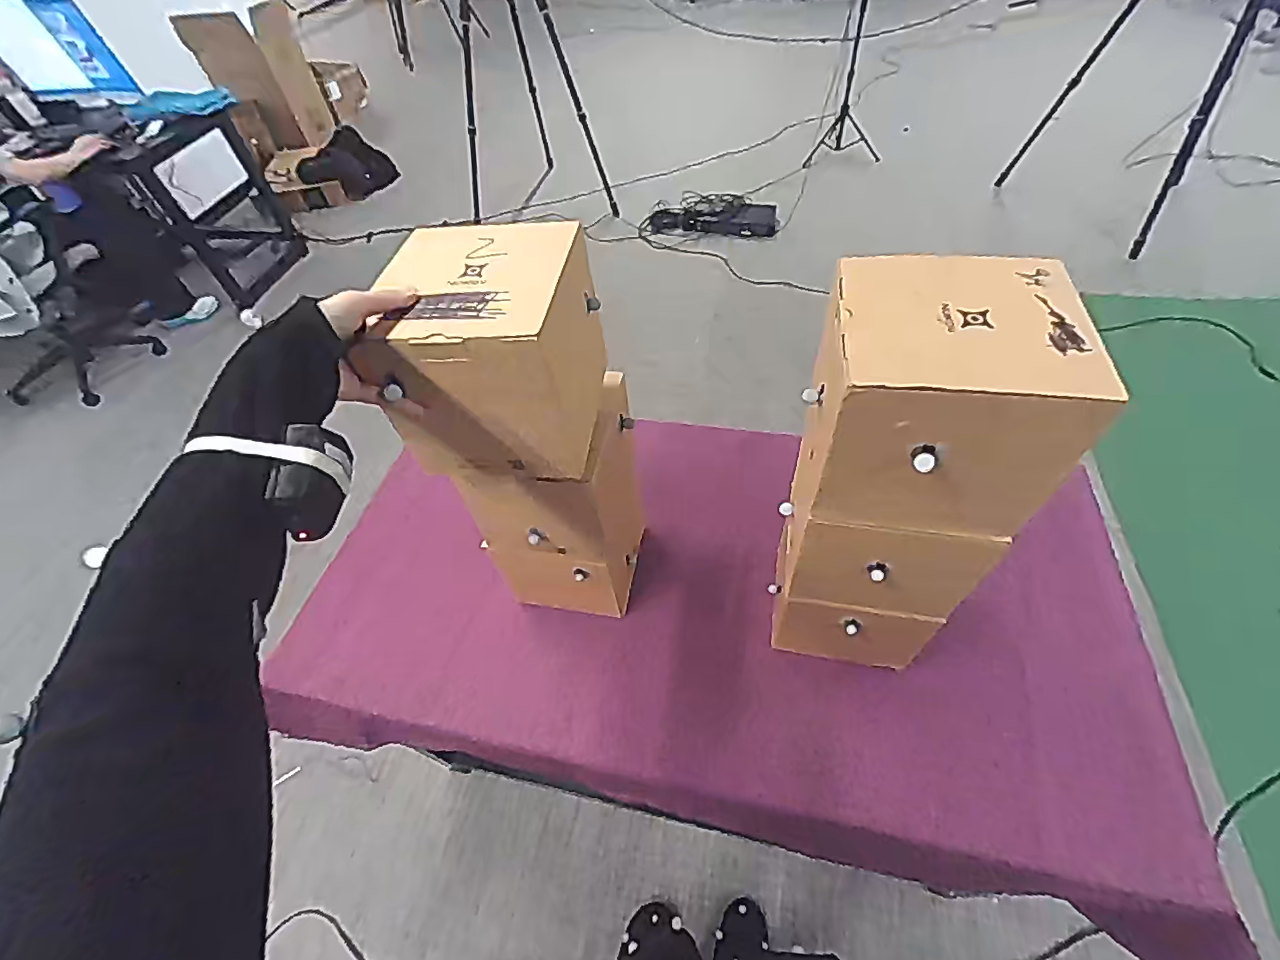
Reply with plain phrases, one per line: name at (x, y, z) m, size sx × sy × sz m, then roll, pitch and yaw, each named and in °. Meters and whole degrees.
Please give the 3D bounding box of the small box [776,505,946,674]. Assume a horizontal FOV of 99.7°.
small box at (0.281, 0.143, 0.725) m, size 0.179 × 0.176 × 0.168 m, roll 7°, pitch 53°, yaw 12°

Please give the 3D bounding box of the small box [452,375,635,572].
small box at (-0.104, -0.008, 0.683) m, size 0.168 × 0.176 × 0.179 m, roll 5°, pitch 52°, yaw 11°

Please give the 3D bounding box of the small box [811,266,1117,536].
small box at (0.248, -0.065, 0.474) m, size 0.179 × 0.176 × 0.168 m, roll 4°, pitch 53°, yaw 12°

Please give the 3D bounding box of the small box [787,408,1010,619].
small box at (0.265, 0.039, 0.599) m, size 0.179 × 0.176 × 0.168 m, roll 5°, pitch 53°, yaw 12°

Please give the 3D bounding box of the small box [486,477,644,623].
small box at (-0.099, 0.099, 0.810) m, size 0.179 × 0.176 × 0.168 m, roll 5°, pitch 52°, yaw 10°
